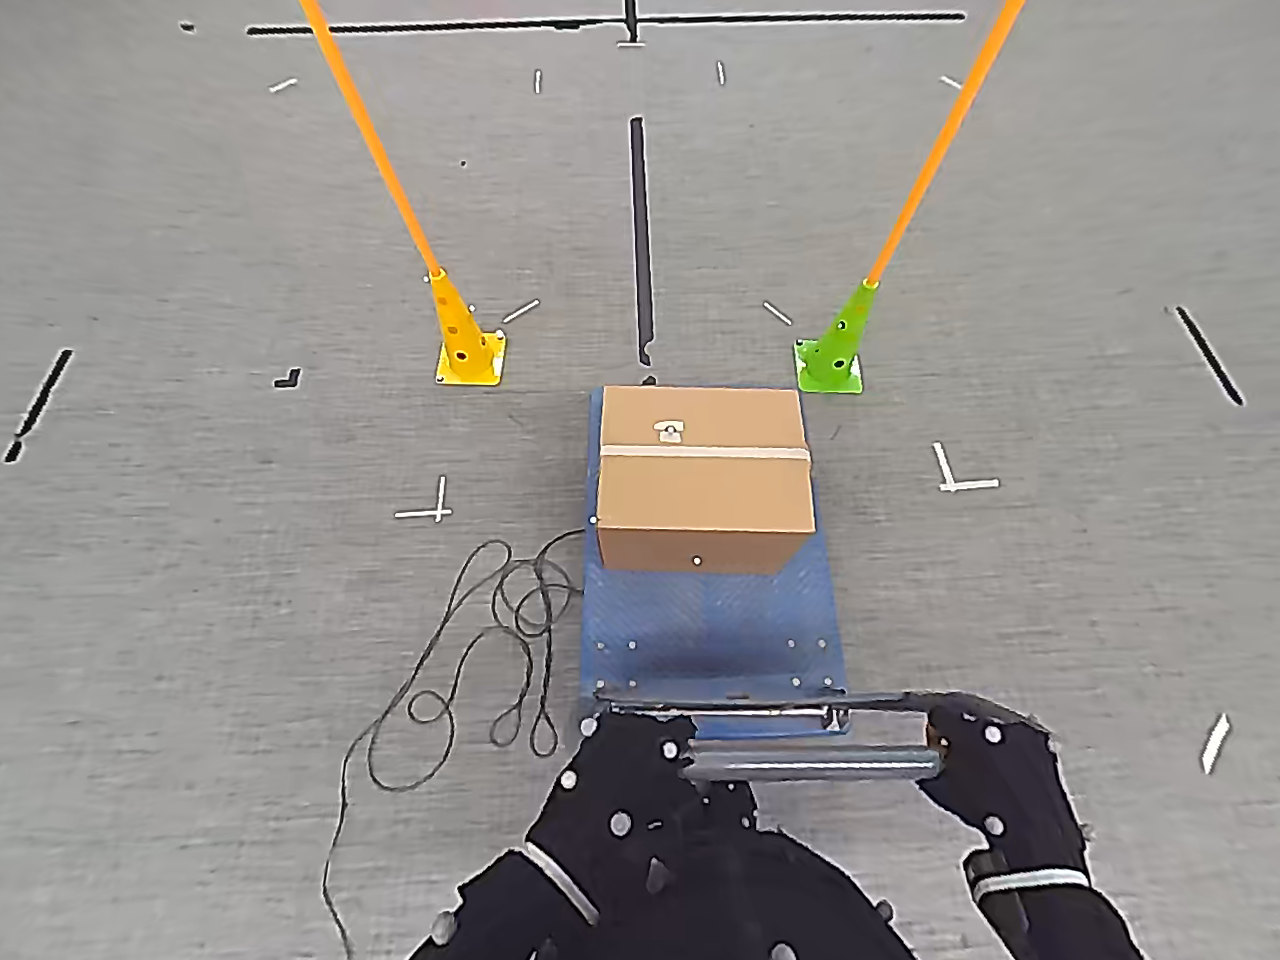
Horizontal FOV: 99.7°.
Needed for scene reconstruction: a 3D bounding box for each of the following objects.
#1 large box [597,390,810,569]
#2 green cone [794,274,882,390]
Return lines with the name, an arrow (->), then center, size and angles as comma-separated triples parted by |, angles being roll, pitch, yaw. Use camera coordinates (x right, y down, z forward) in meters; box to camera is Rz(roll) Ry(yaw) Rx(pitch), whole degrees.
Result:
large box -> 0.122, 0.013, 1.196 | 0.408, 0.320, 0.320 | 1, 66, 1
green cone -> 0.601, -0.444, 1.569 | 0.202, 0.368, 0.200 | 2, 65, -1
